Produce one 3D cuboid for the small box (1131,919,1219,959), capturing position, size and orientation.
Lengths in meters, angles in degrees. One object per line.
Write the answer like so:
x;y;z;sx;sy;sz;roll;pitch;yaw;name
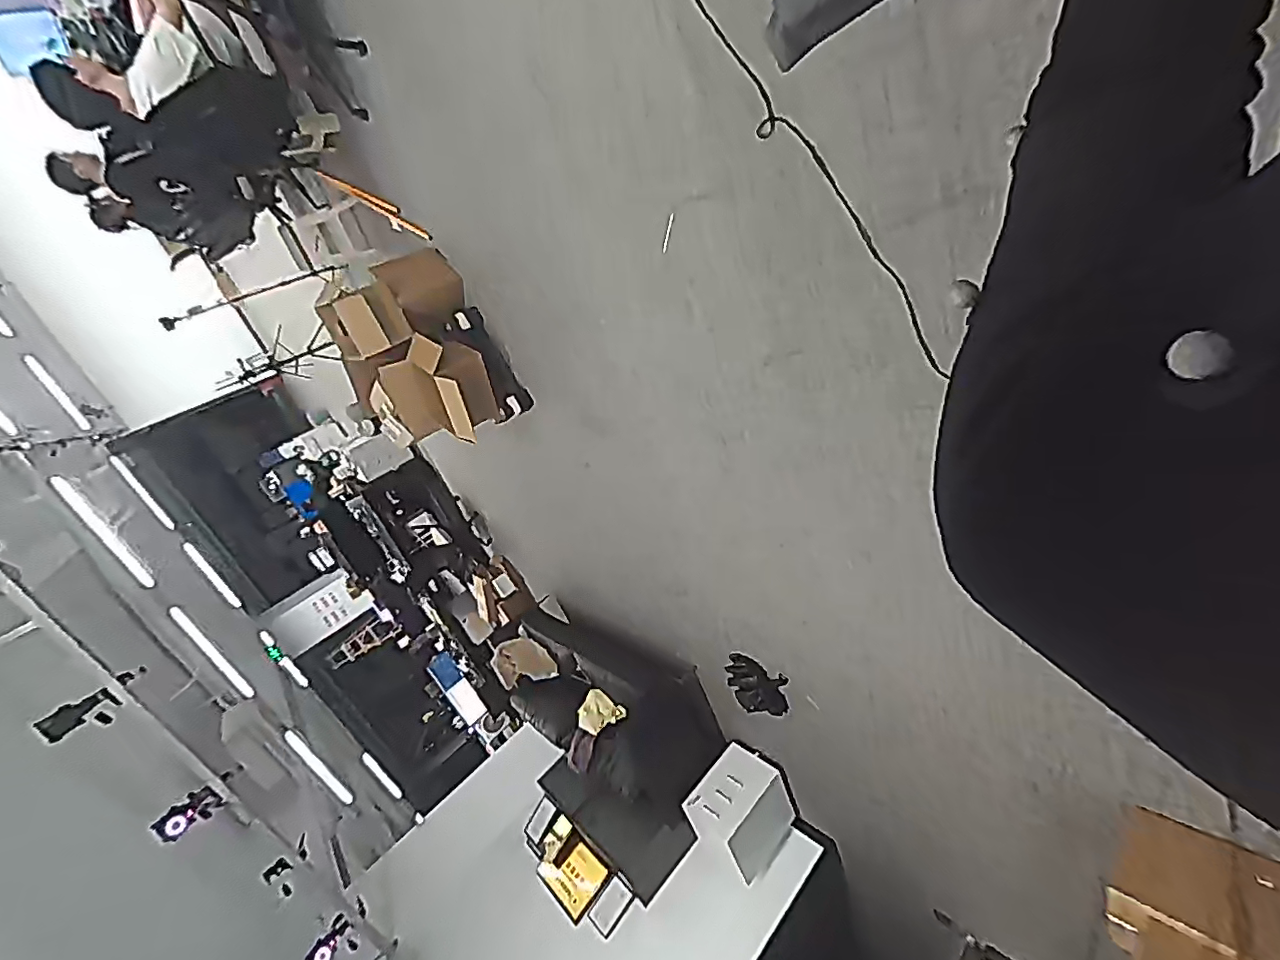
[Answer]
1.471;1.372;1.480;0.179;0.176;0.168;10;127;52;small box
